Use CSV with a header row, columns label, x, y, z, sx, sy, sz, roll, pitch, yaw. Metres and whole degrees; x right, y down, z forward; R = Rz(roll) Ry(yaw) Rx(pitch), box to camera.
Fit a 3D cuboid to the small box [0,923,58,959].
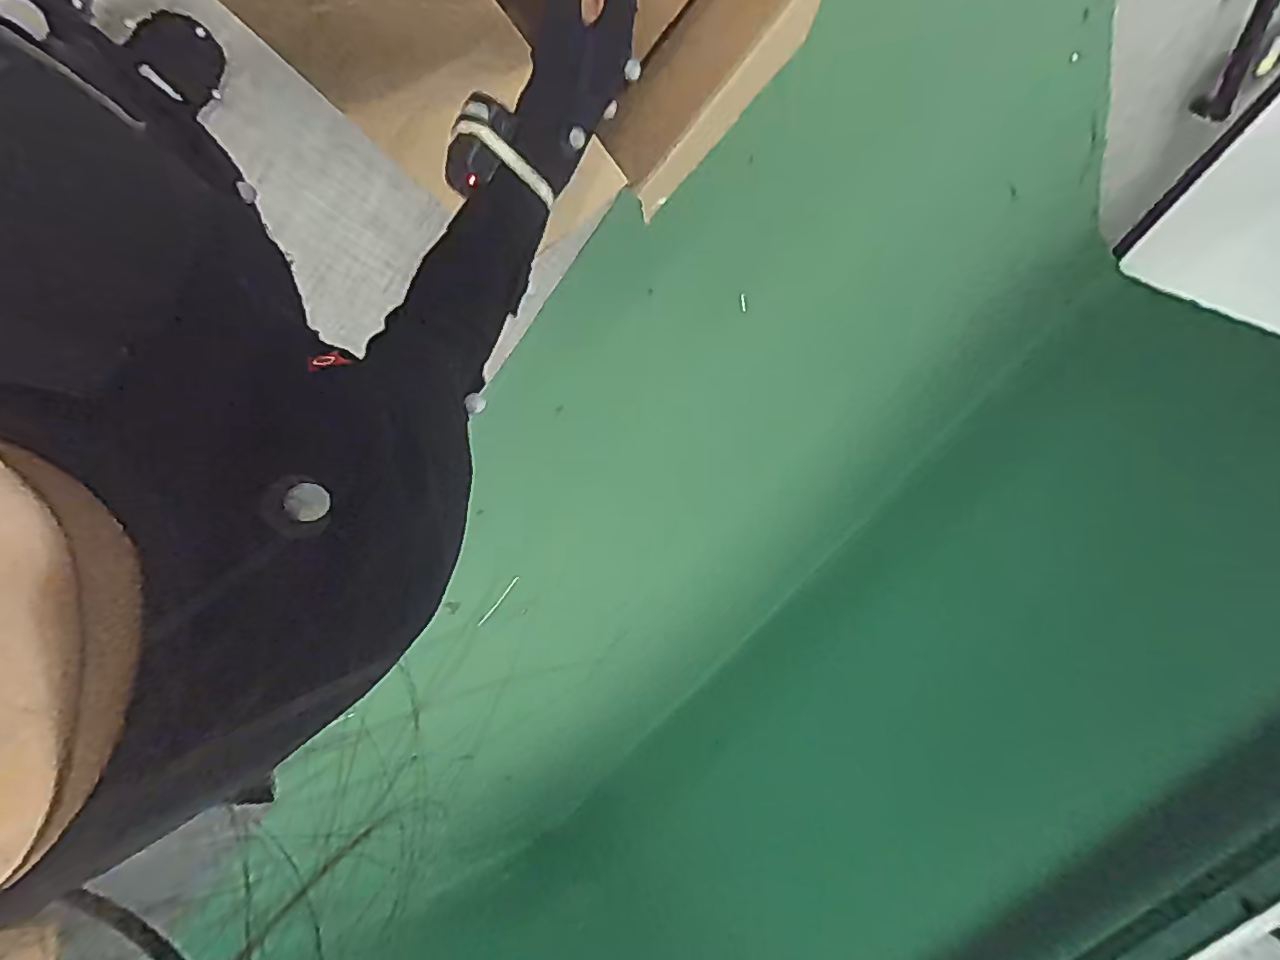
label,x,y,z,sx,sy,sz,roll,pitch,yaw
small box,-1.213,0.969,0.989,0.179,0.176,0.168,-51,142,14
